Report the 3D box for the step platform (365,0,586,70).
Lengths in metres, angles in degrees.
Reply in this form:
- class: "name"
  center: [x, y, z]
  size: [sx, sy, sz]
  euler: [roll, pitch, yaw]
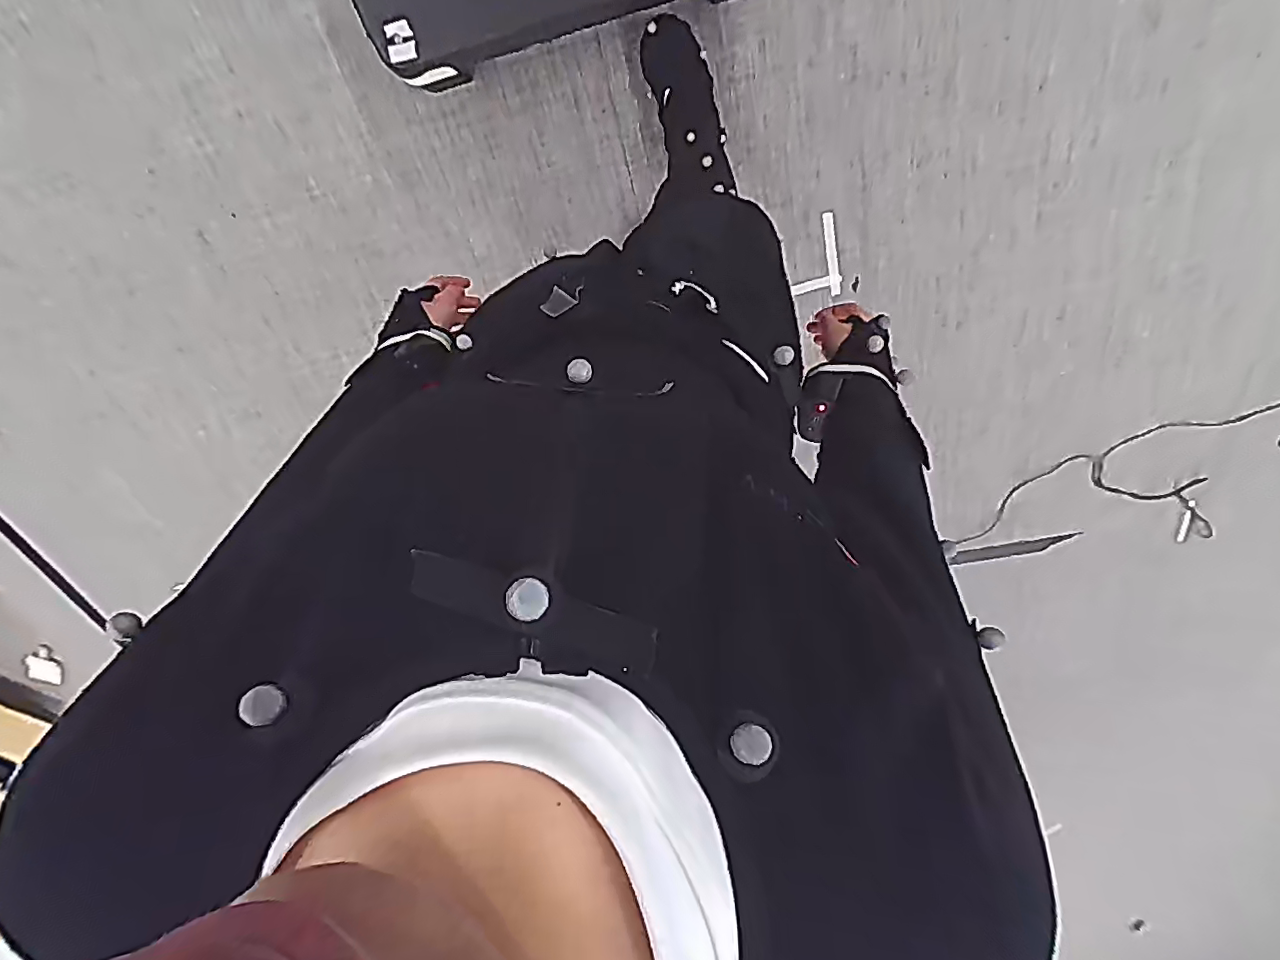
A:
- class: "step platform"
  center: [-0.123, -0.899, 0.831]
  size: [0.684, 0.204, 0.286]
  euler: [-11, 119, 9]
